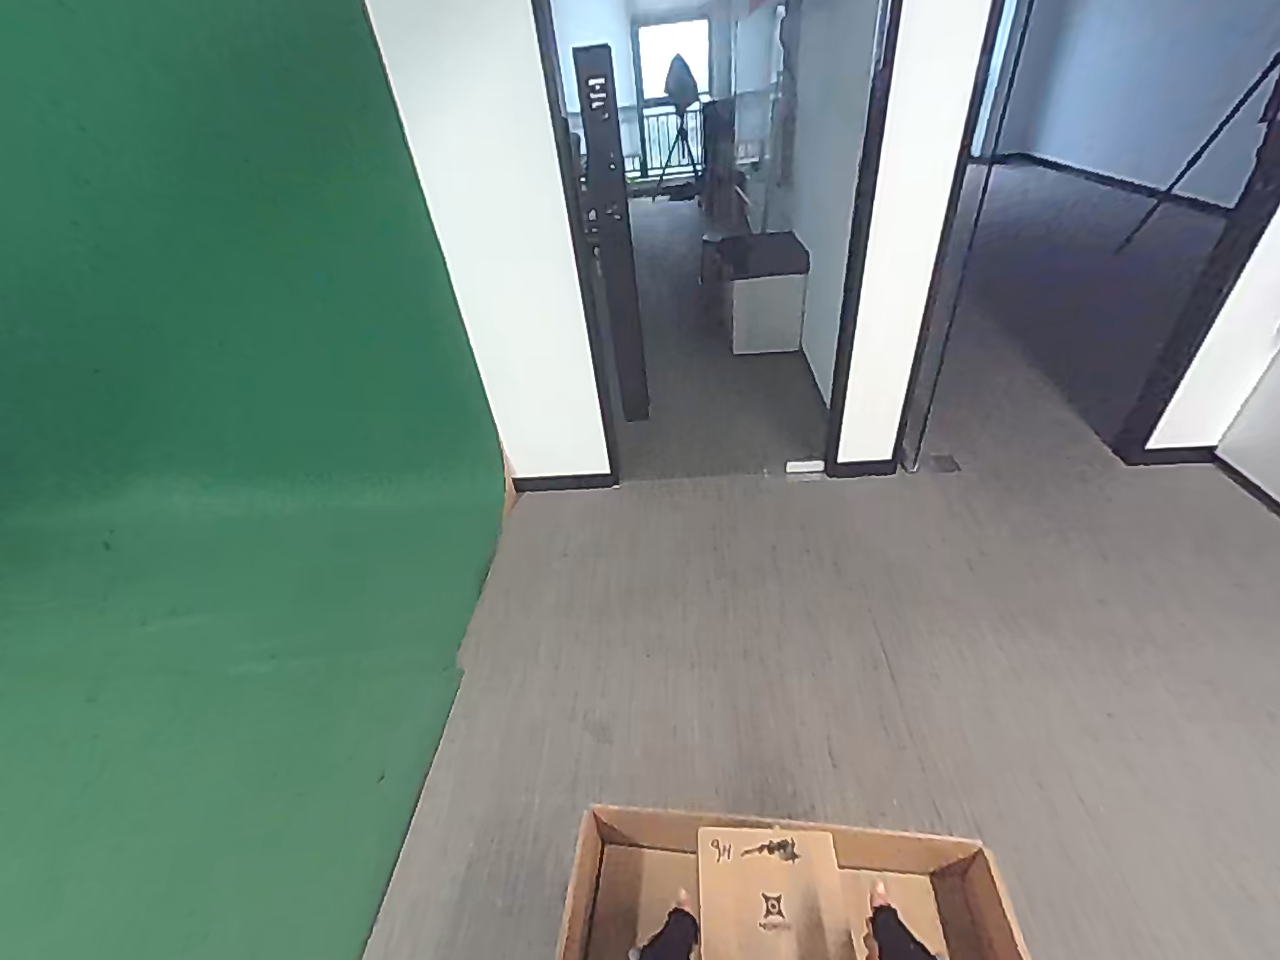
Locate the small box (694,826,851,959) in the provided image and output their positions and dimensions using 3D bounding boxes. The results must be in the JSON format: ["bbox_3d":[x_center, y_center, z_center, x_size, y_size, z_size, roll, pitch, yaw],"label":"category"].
[{"bbox_3d":[0.150,0.549,0.650,0.168,0.176,0.179,0,38,5],"label":"small box"}]
